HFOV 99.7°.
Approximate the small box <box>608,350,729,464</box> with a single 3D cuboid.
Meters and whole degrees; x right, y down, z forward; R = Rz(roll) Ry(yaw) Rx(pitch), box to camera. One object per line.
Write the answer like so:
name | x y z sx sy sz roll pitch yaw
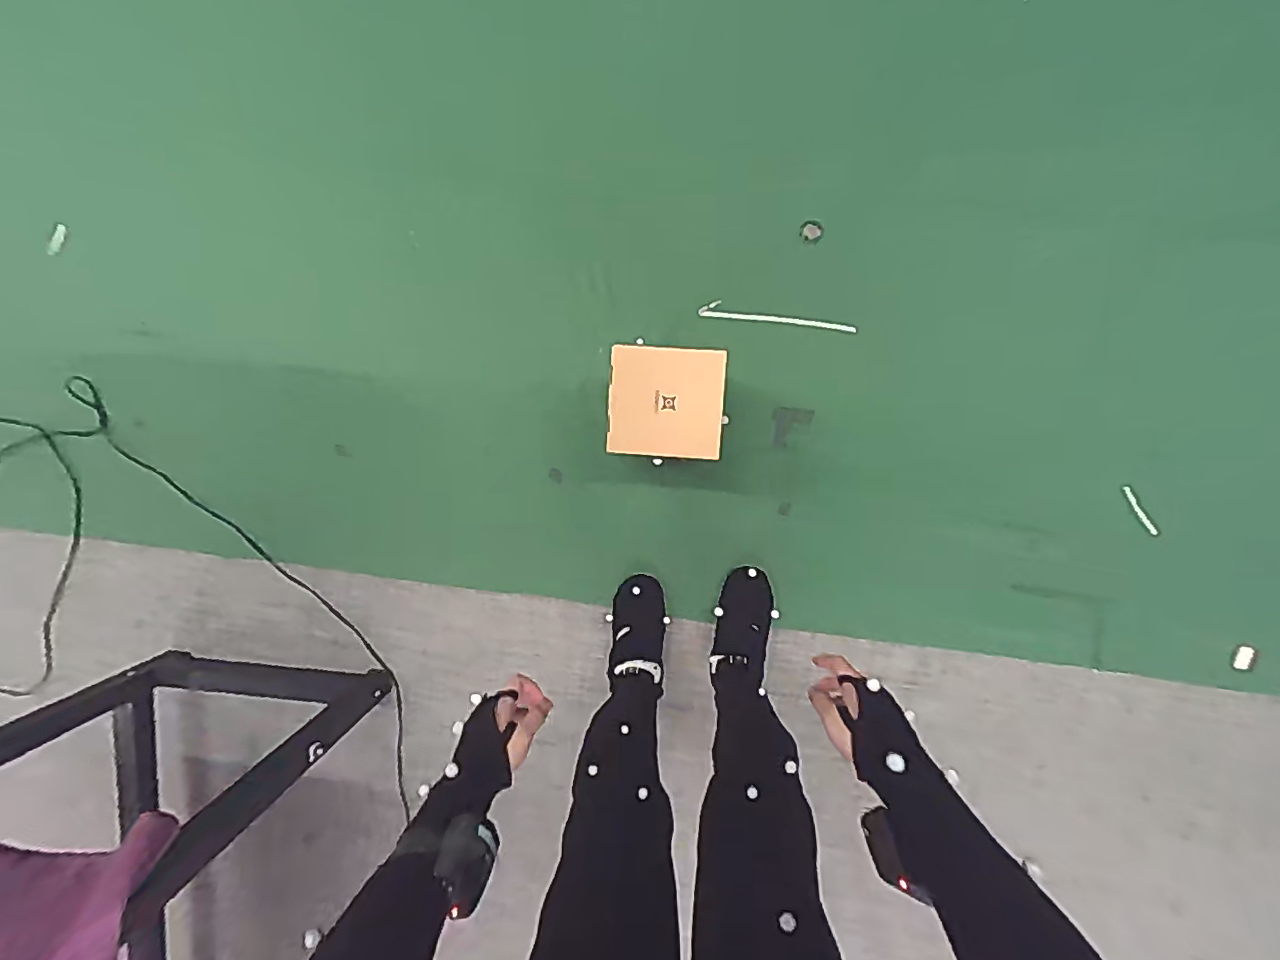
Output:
small box | 0.050 -0.121 0.899 0.179 0.176 0.168 4 97 7
